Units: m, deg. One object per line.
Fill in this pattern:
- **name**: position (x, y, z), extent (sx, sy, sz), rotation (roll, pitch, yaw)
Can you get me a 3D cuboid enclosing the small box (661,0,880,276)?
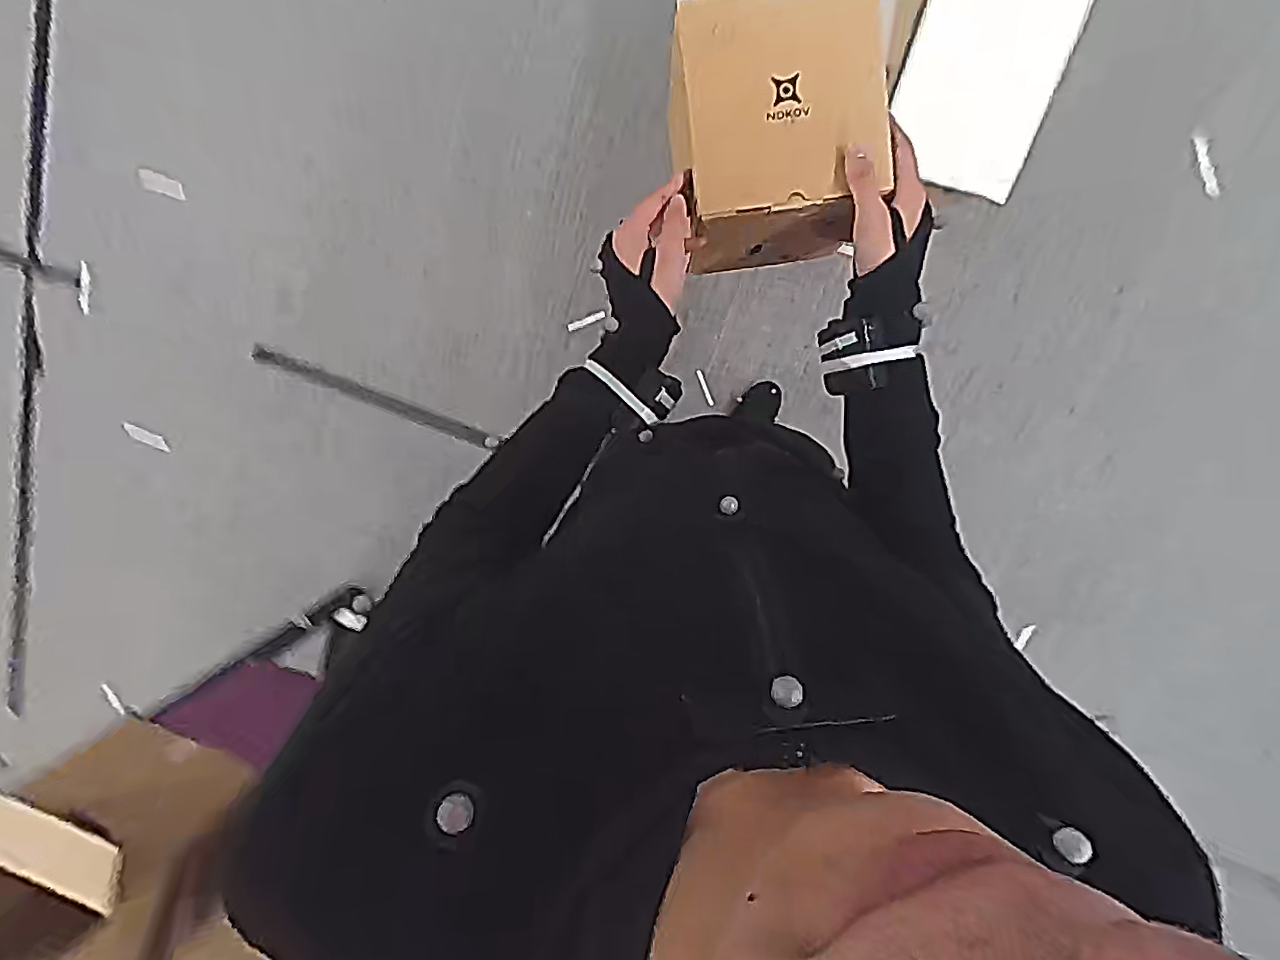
- **small box**: position (0.113, -0.321, 0.532), extent (0.168, 0.176, 0.179), rotation (-7, 94, 1)
